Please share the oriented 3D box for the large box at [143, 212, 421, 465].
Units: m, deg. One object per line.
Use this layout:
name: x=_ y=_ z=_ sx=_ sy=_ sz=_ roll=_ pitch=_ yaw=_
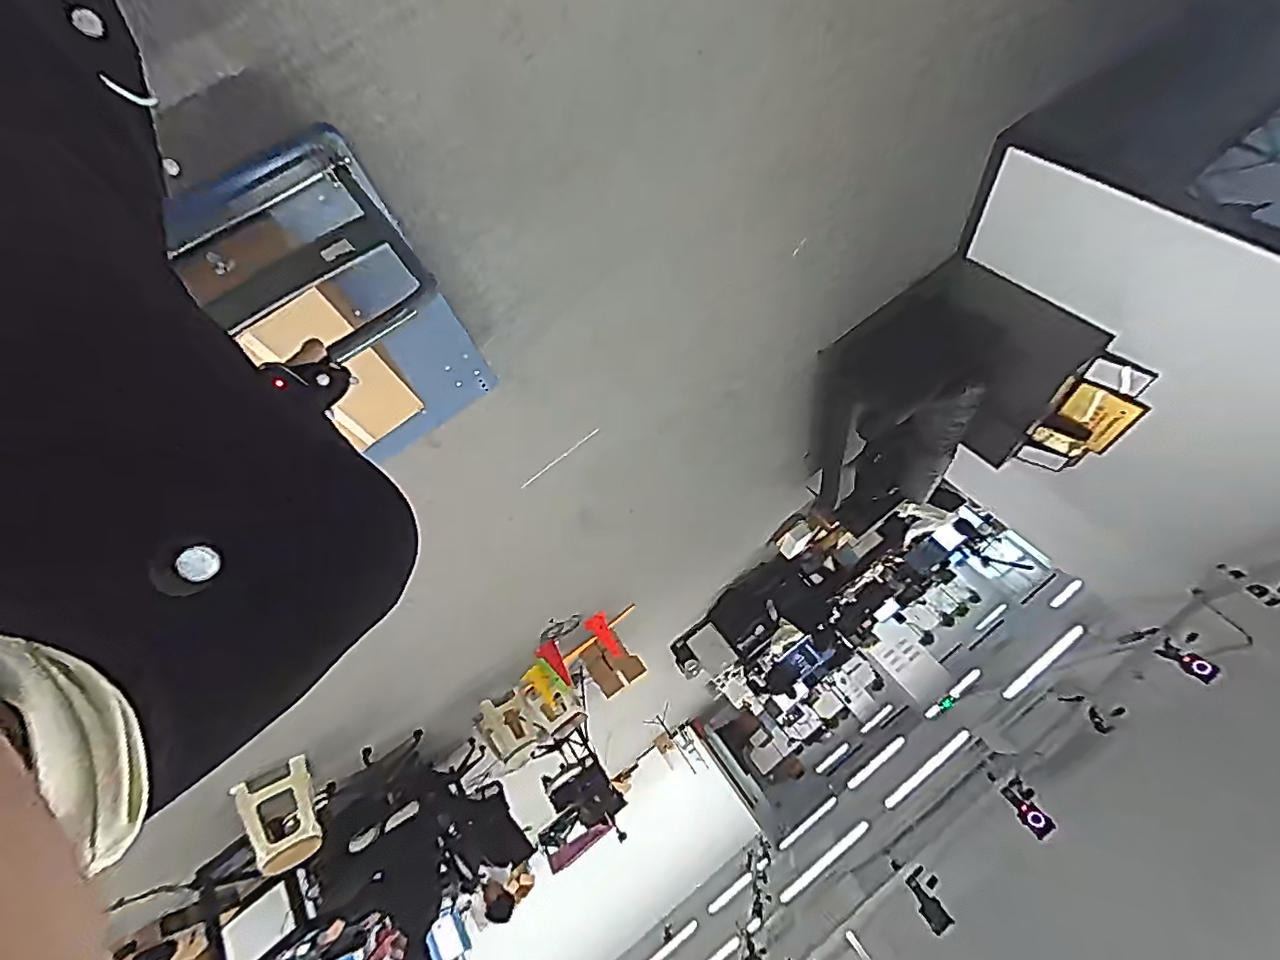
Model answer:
large box: x=-0.800 y=-0.311 z=1.251 sx=0.320 sy=0.320 sz=0.408 roll=-36 pitch=152 yaw=-8
